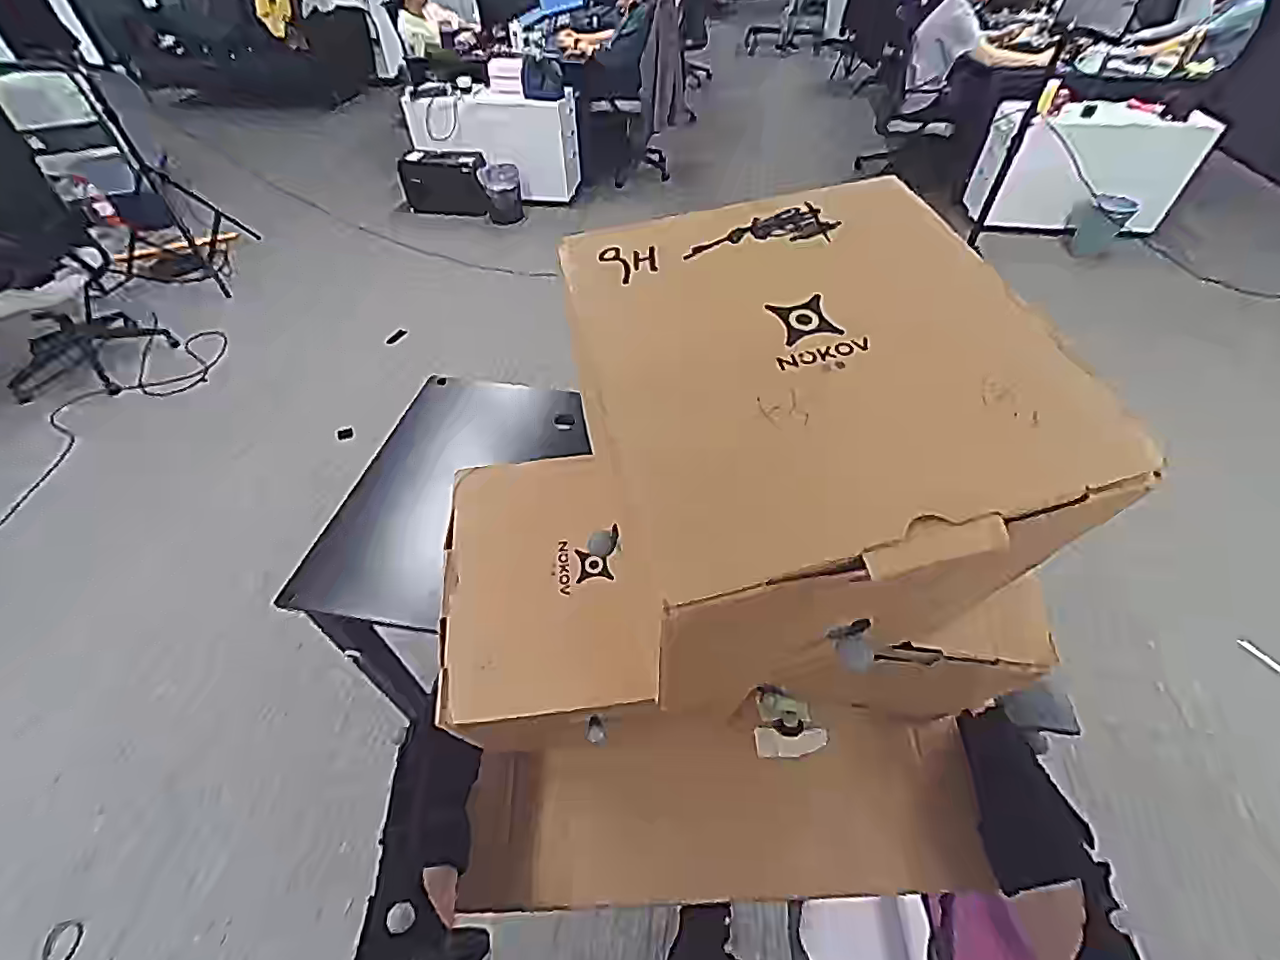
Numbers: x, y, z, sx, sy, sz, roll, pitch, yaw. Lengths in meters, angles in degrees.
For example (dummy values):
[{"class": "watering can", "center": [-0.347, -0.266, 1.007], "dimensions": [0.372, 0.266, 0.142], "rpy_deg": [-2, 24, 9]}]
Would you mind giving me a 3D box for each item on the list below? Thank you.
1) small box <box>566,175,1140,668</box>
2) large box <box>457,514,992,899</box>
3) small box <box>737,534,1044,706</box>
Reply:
[{"class": "small box", "center": [0.067, -0.016, 0.277], "dimensions": [0.168, 0.176, 0.179], "rpy_deg": [-13, 59, -7]}, {"class": "large box", "center": [0.056, 0.240, 0.596], "dimensions": [0.408, 0.320, 0.320], "rpy_deg": [-2, 58, -1]}, {"class": "small box", "center": [0.162, 0.061, 0.419], "dimensions": [0.168, 0.176, 0.179], "rpy_deg": [7, 56, 7]}]
